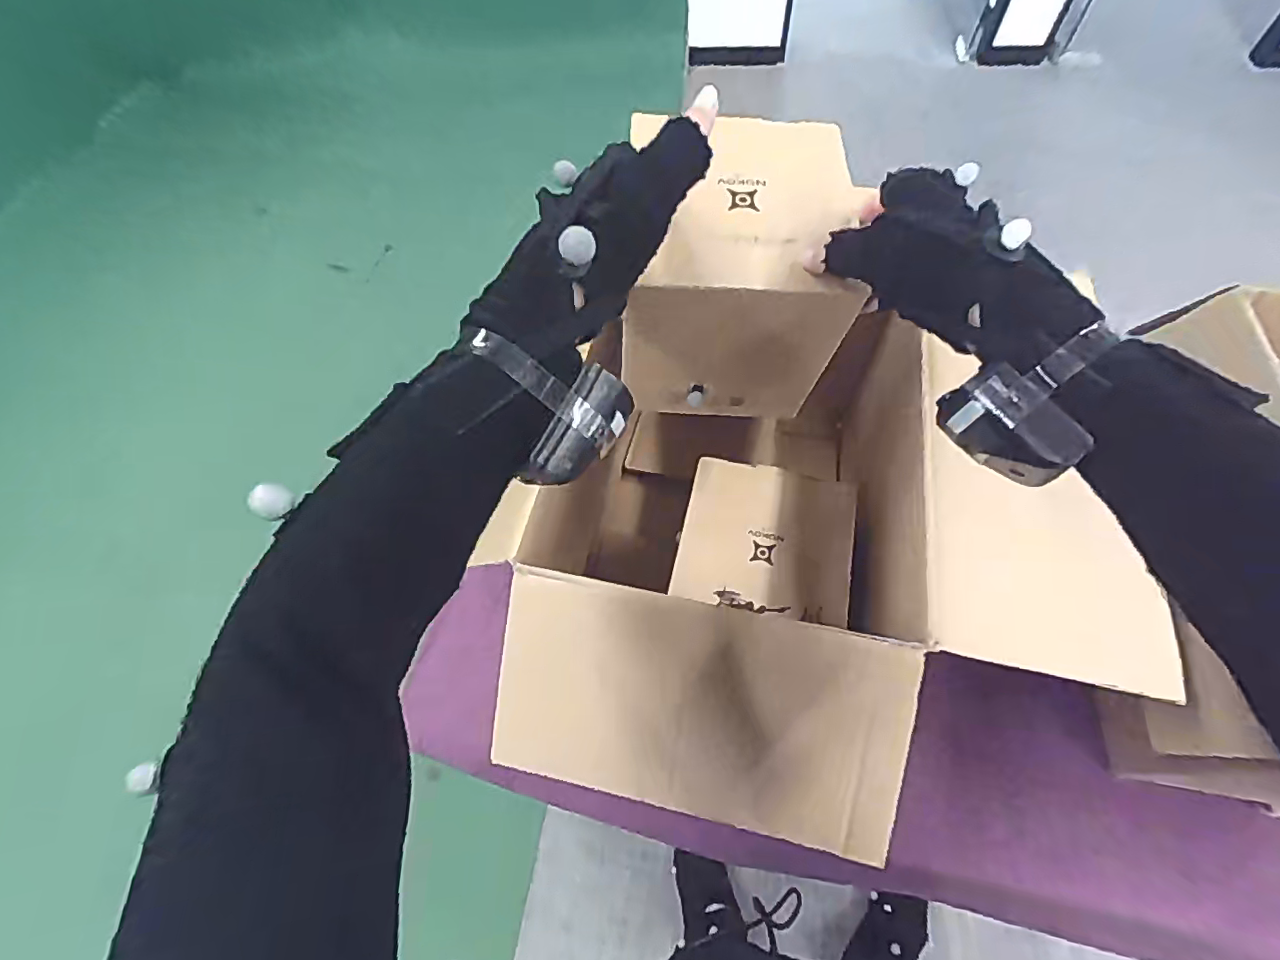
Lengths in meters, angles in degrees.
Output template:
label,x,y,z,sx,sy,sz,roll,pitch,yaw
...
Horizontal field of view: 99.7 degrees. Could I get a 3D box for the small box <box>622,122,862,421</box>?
label,x,y,z,sx,sy,sz,roll,pitch,yaw
small box,0.071,-0.173,0.475,0.168,0.176,0.179,2,66,-1
